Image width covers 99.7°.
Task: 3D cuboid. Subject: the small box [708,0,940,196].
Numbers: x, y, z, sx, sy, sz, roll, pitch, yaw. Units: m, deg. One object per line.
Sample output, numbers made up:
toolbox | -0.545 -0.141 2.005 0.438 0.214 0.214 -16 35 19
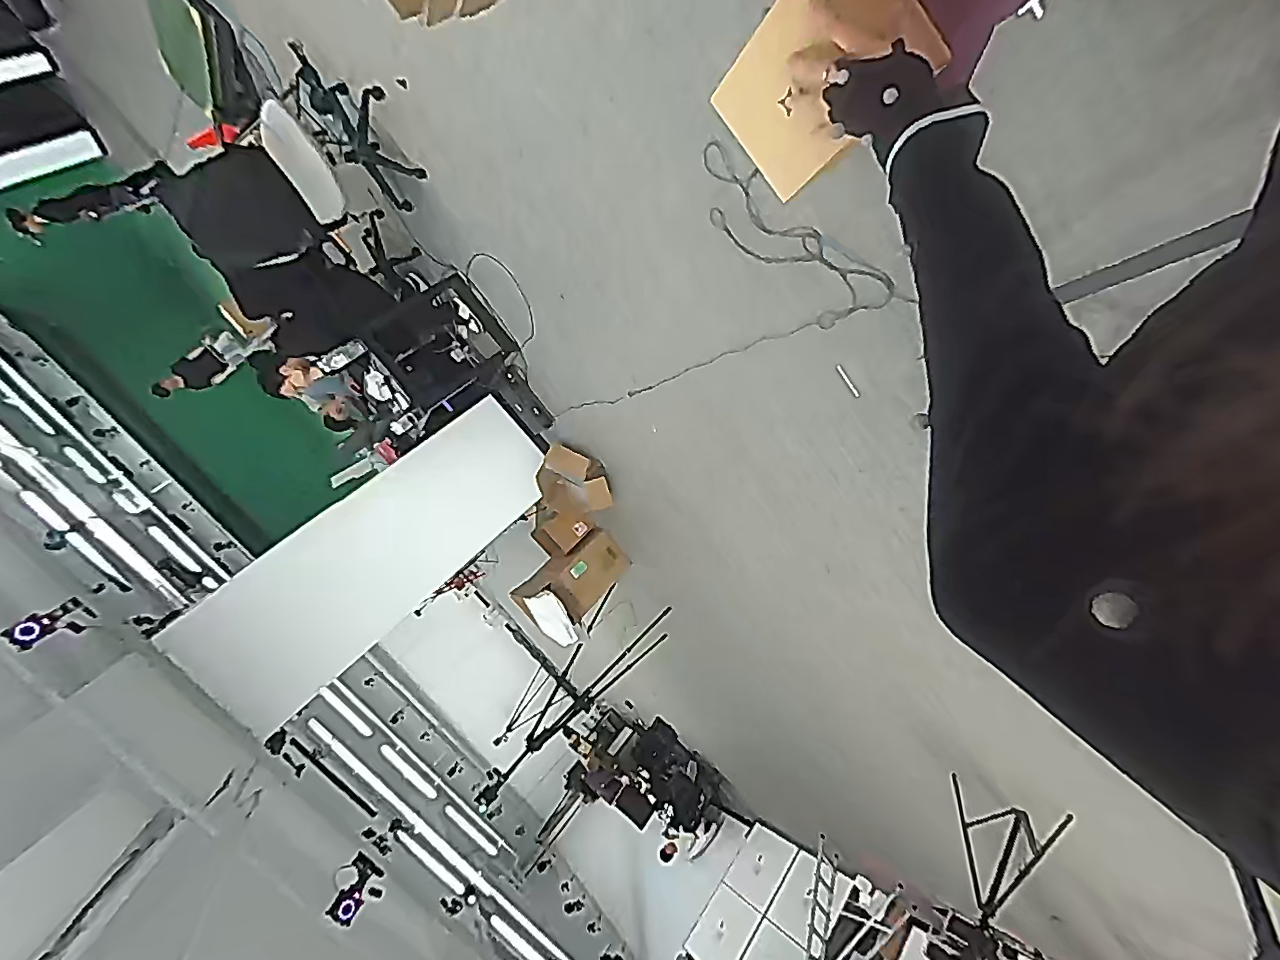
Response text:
small box | 0.226 -0.503 0.670 0.168 0.176 0.179 50 152 -9
